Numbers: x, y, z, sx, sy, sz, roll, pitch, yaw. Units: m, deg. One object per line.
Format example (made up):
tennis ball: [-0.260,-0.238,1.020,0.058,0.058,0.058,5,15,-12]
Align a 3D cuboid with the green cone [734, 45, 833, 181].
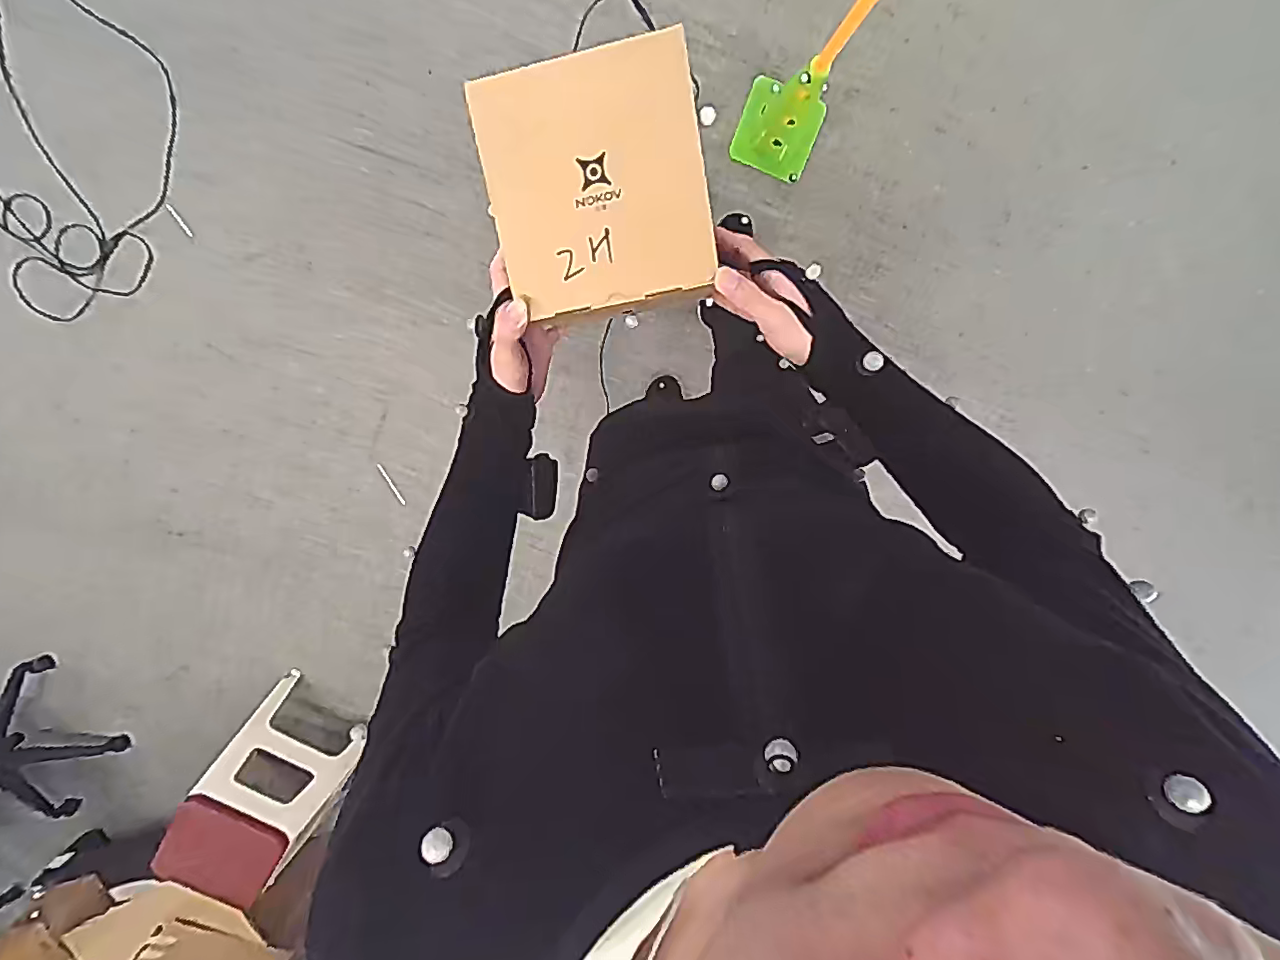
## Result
green cone: [0.356,-0.848,1.198,0.202,0.368,0.200,20,103,-4]
